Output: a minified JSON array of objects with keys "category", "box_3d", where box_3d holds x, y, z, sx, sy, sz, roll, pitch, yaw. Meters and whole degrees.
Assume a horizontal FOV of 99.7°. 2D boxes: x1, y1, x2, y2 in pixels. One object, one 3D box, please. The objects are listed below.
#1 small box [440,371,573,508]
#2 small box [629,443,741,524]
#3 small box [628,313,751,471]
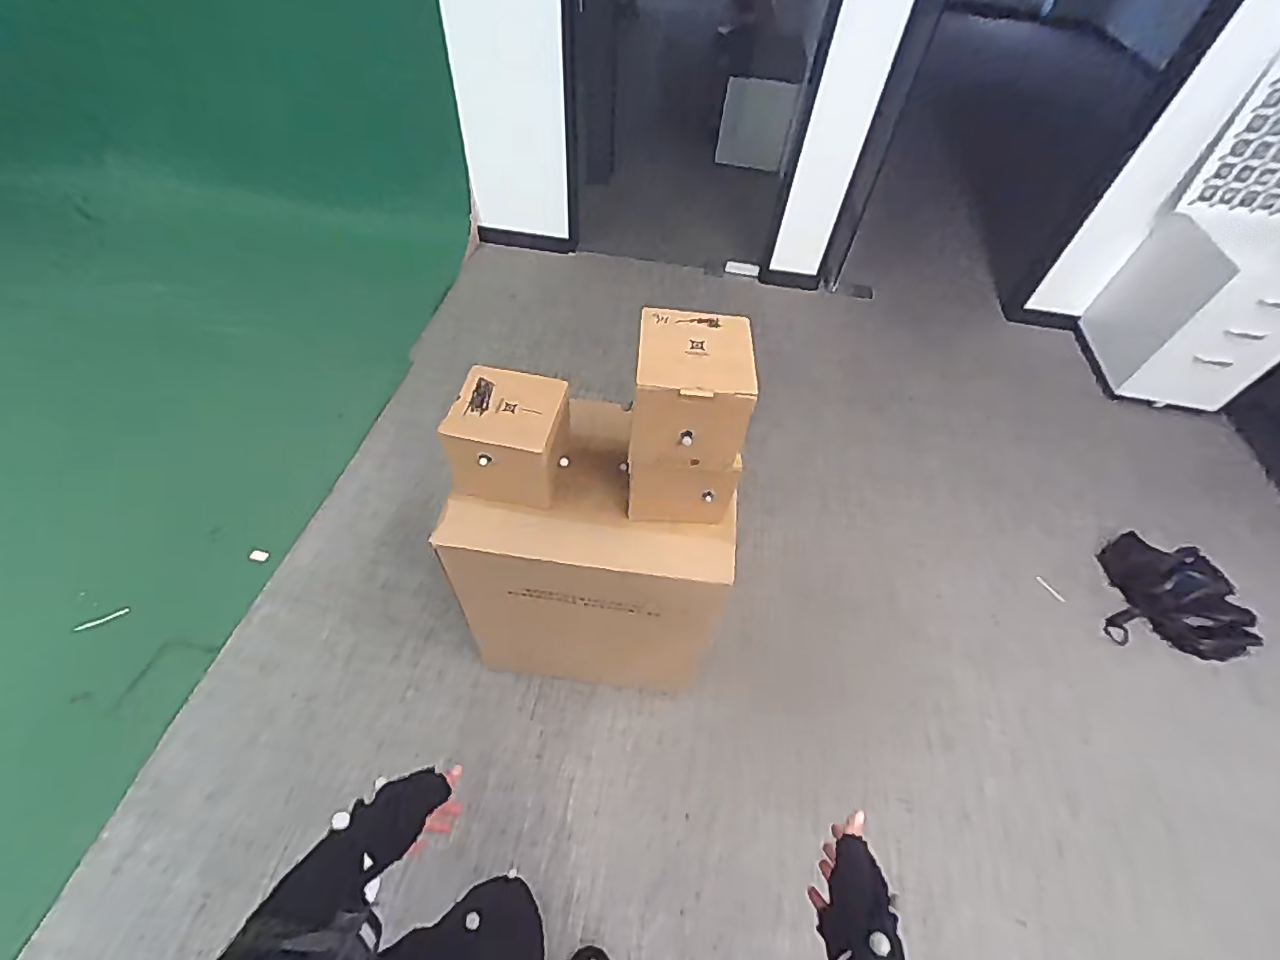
[{"category":"small box","box_3d":[-0.227,-0.068,0.972,0.179,0.176,0.168,10,54,4]},{"category":"small box","box_3d":[0.071,-0.032,0.969,0.179,0.176,0.168,1,52,-2]},{"category":"small box","box_3d":[0.070,-0.132,0.839,0.168,0.176,0.179,5,53,-1]}]
